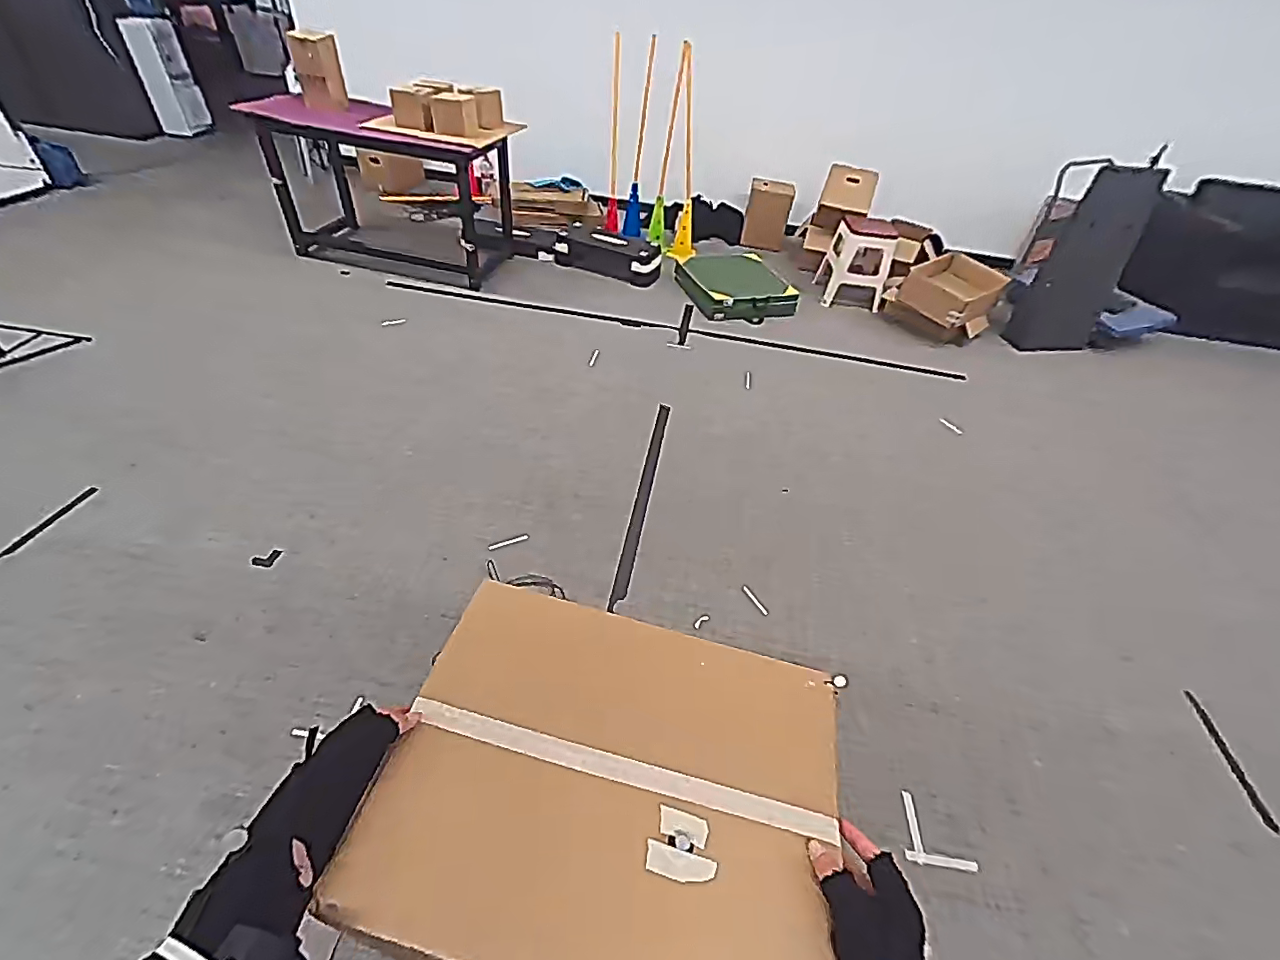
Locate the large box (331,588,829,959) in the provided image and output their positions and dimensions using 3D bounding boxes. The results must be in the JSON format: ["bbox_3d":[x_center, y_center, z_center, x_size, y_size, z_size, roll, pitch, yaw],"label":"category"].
[{"bbox_3d":[-0.040,0.378,0.615,0.408,0.320,0.320,15,44,4],"label":"large box"}]
